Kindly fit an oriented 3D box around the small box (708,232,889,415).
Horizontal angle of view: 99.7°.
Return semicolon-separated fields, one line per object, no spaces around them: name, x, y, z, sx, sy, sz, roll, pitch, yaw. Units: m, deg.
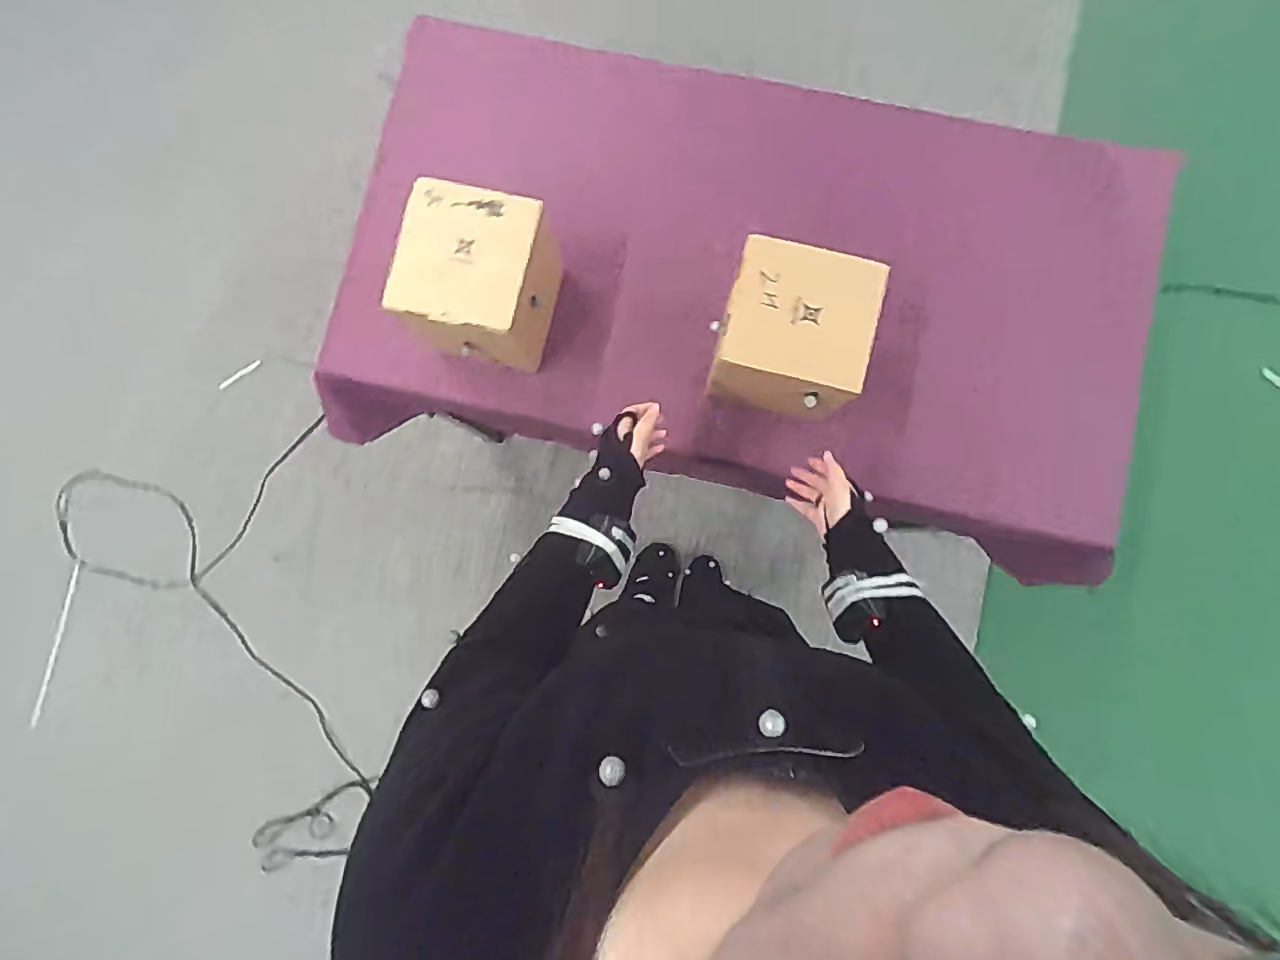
small box;0.199;-0.195;0.726;0.179;0.176;0.168;15;85;4

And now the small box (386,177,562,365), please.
small box;-0.215;-0.275;0.750;0.168;0.176;0.179;13;86;3
